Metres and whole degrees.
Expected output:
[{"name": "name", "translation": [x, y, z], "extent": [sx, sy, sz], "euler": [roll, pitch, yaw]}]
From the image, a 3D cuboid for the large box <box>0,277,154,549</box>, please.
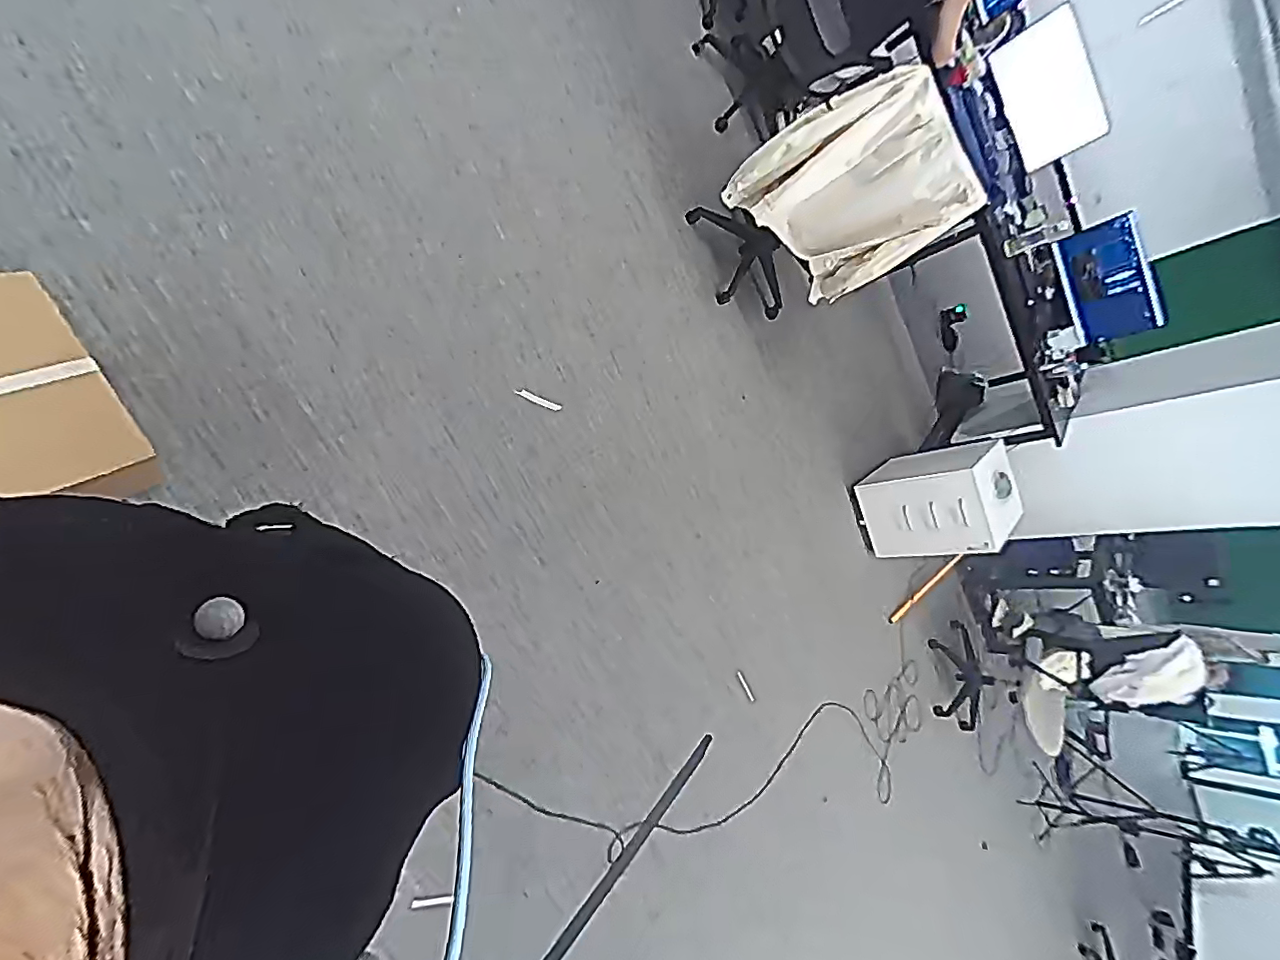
[{"name": "large box", "translation": [-1.059, -0.051, 0.812], "extent": [0.408, 0.320, 0.320], "euler": [-36, 105, -40]}]
